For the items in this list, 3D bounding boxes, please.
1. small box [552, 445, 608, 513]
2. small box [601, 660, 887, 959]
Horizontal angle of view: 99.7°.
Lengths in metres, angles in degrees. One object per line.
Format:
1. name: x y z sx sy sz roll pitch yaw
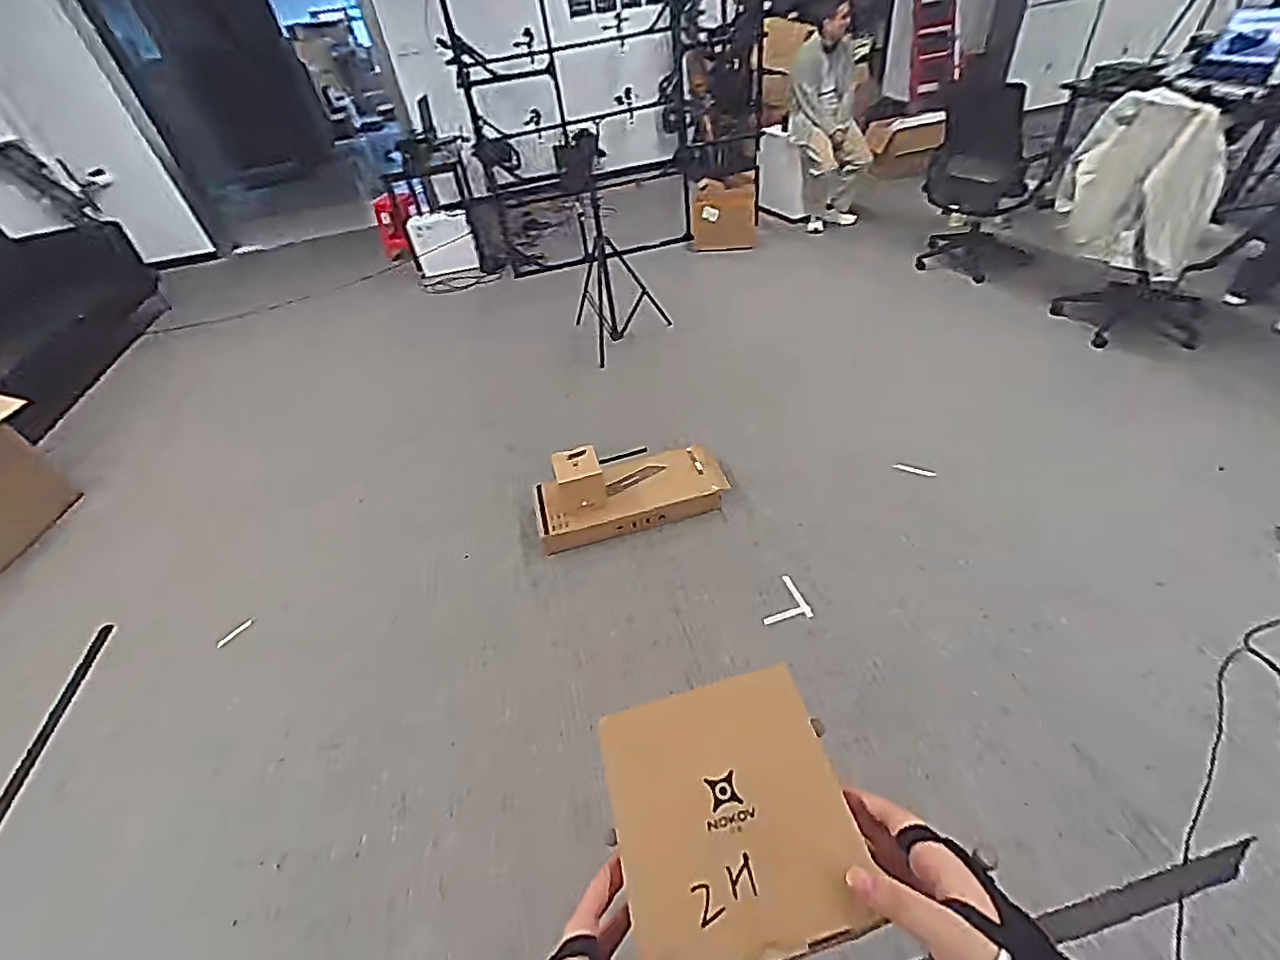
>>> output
1. small box: -0.228 -0.002 2.051 0.168 0.176 0.179 -16 43 -8
2. small box: 0.073 0.286 0.455 0.168 0.176 0.179 -16 46 -2
